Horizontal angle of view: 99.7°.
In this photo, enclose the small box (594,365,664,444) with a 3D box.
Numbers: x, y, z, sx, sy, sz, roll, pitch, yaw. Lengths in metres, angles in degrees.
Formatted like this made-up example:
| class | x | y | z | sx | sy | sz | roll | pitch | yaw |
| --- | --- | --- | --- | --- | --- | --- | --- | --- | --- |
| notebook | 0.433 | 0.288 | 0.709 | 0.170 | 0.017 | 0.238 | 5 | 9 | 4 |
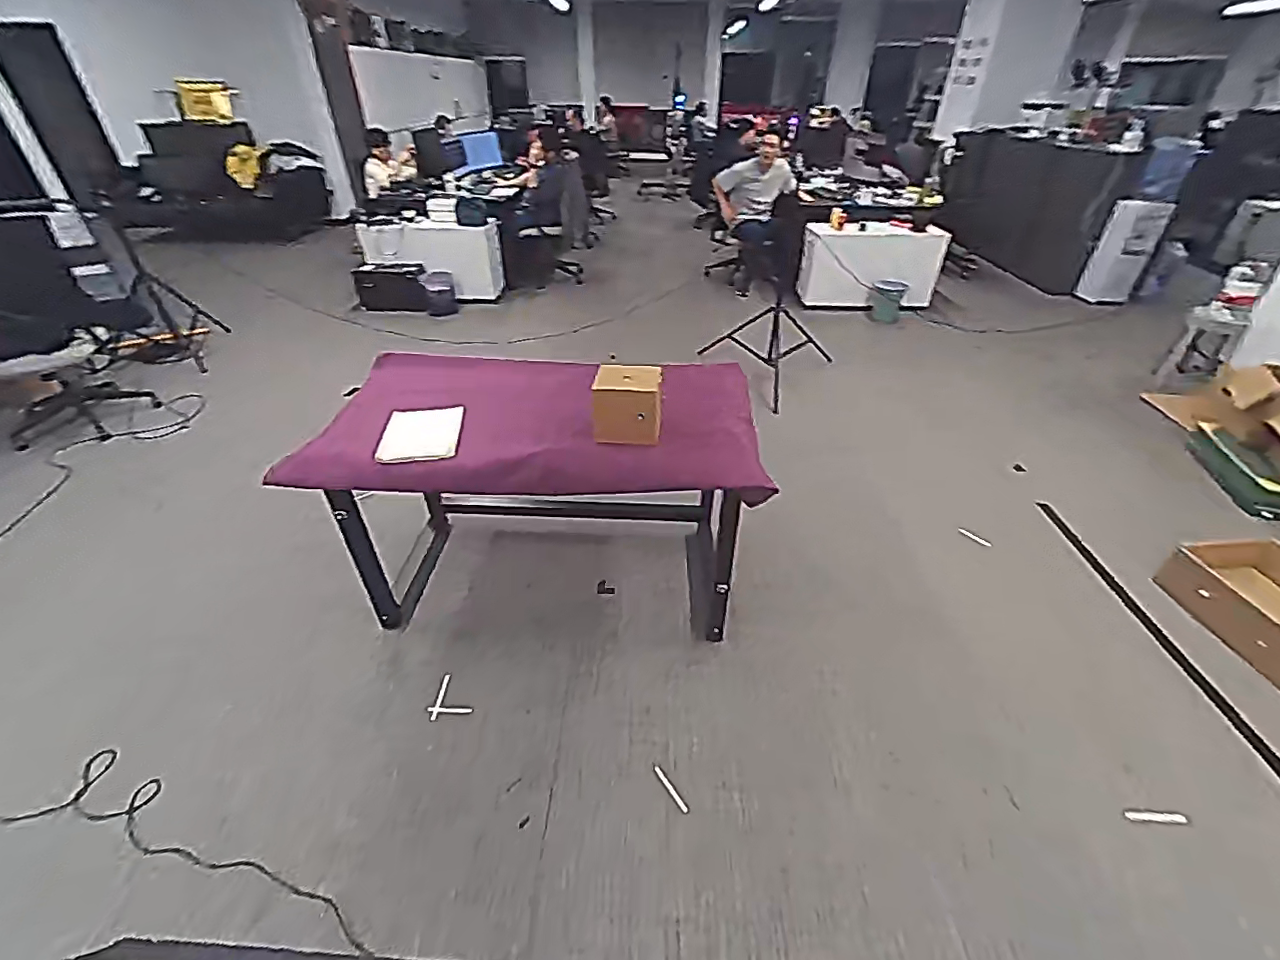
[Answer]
| class | x | y | z | sx | sy | sz | roll | pitch | yaw |
| --- | --- | --- | --- | --- | --- | --- | --- | --- | --- |
| small box | -0.026 | -0.211 | 1.521 | 0.179 | 0.176 | 0.168 | 2 | 34 | 5 |
